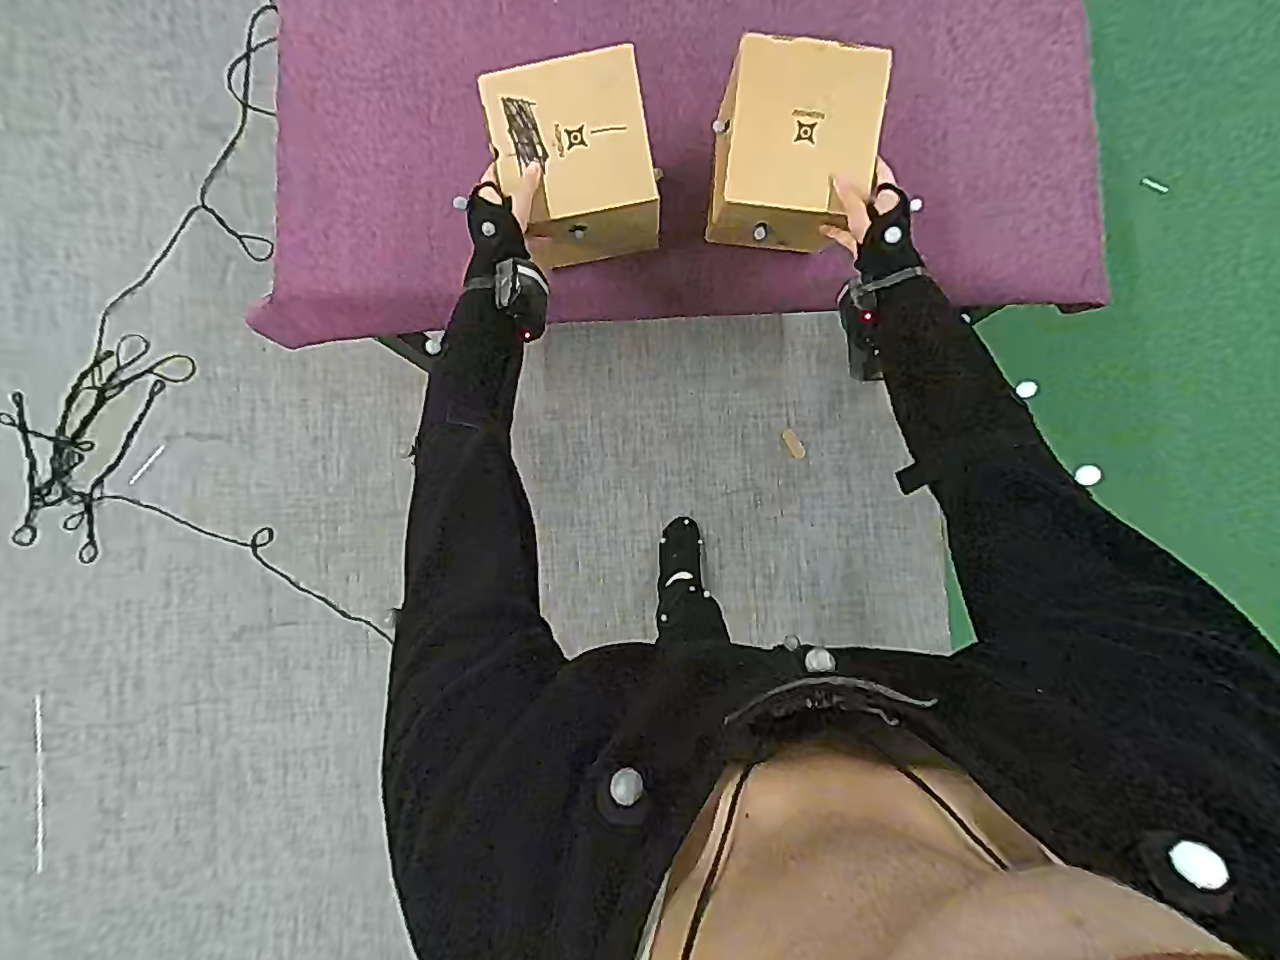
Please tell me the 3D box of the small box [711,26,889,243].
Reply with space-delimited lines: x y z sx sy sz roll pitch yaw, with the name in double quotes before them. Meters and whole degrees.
"small box" 0.183 -0.409 0.672 0.168 0.176 0.179 5 98 1
